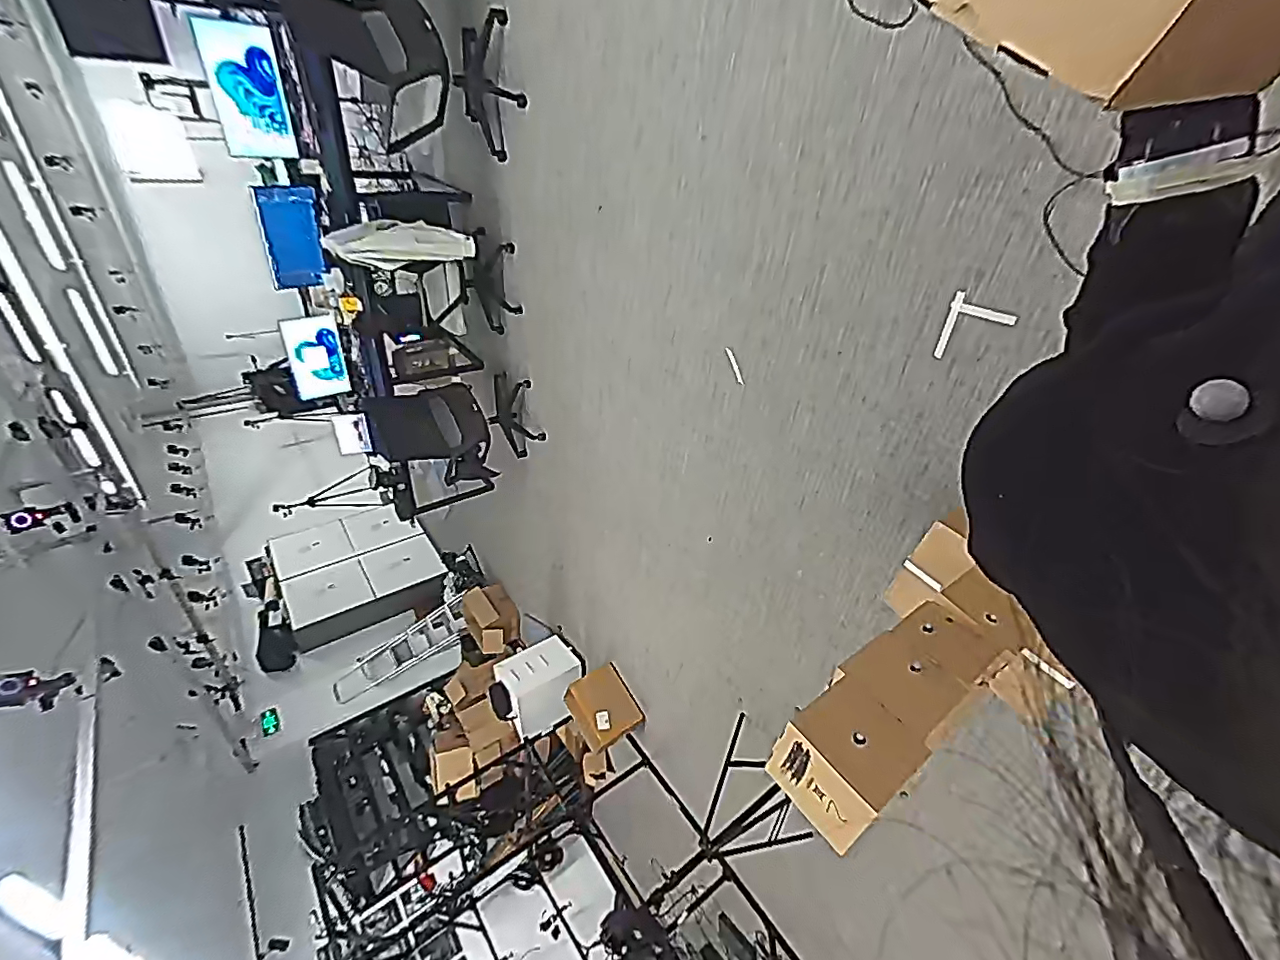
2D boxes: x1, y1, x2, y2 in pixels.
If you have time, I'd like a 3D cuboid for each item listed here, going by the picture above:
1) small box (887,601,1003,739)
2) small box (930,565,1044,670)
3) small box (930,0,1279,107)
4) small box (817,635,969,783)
[{"bbox_3d":[0.613,0.382,1.119,0.168,0.176,0.179,34,134,44],"label":"small box"},{"bbox_3d":[0.740,0.320,1.199,0.179,0.176,0.168,47,141,33],"label":"small box"},{"bbox_3d":[0.239,-0.290,0.217,0.168,0.176,0.179,58,155,24],"label":"small box"},{"bbox_3d":[0.479,0.424,1.034,0.179,0.176,0.168,40,137,40],"label":"small box"}]
